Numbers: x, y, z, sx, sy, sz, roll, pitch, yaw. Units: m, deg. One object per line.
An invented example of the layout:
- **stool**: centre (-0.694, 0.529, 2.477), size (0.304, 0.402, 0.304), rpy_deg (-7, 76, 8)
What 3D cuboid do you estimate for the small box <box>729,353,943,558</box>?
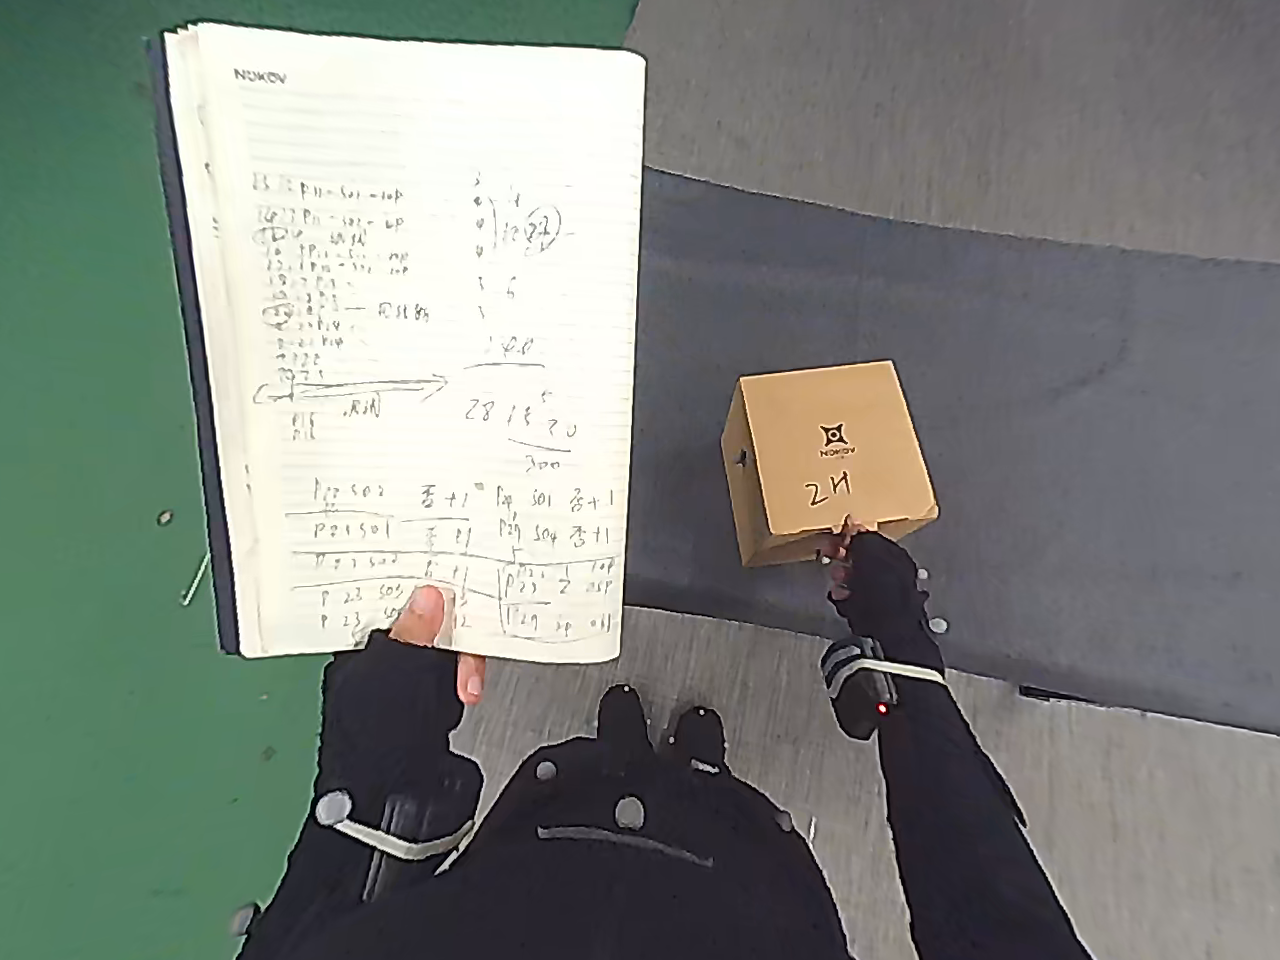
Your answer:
- **small box**: centre (0.203, -0.020, 0.620), size (0.168, 0.176, 0.179), rpy_deg (-7, 71, 0)
